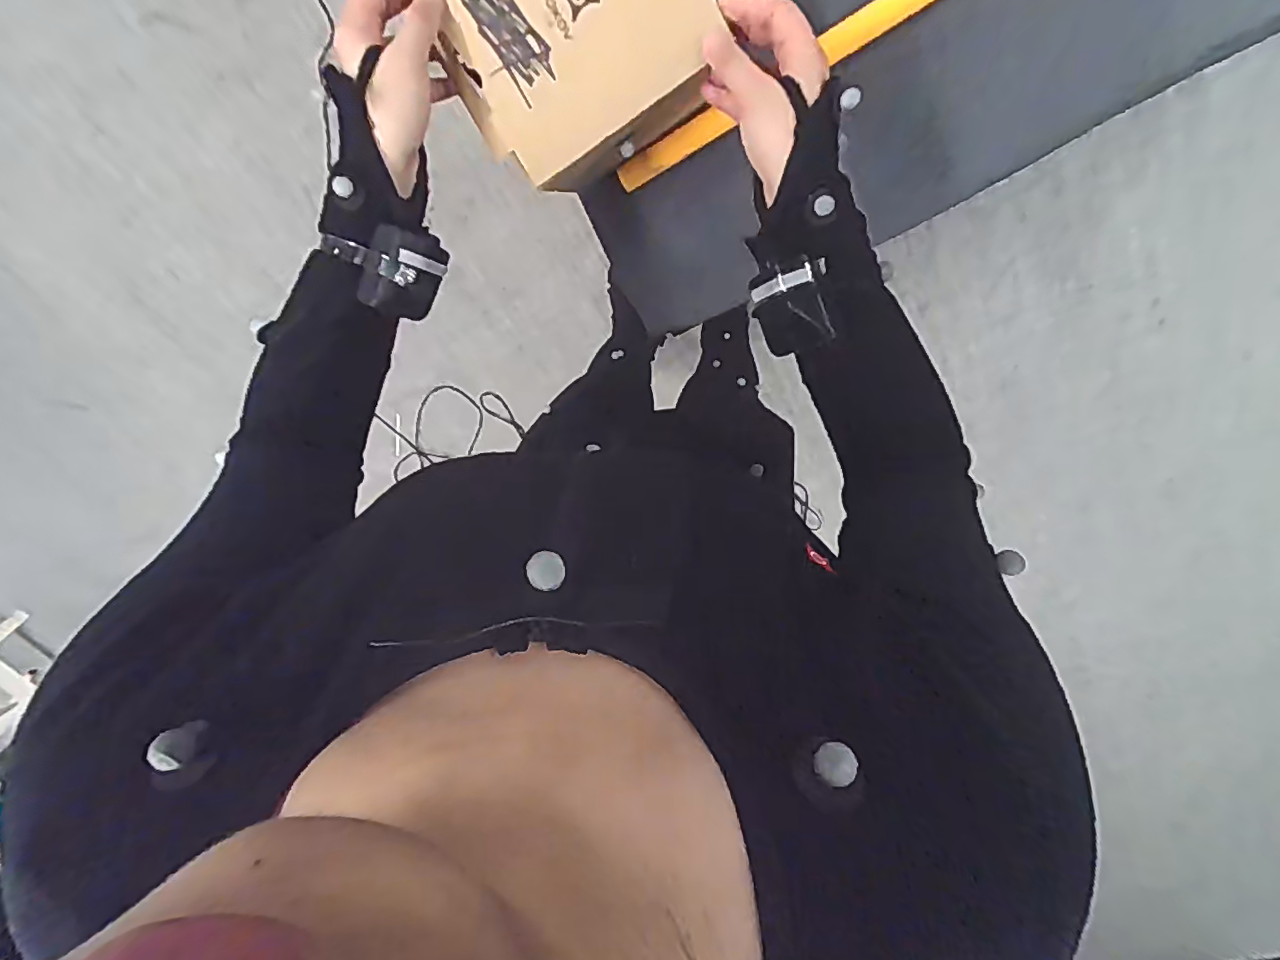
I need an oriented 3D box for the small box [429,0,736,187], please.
[{"bbox_3d":[-0.036,-0.364,0.443,0.179,0.176,0.168,-26,112,18],"label":"small box"}]
